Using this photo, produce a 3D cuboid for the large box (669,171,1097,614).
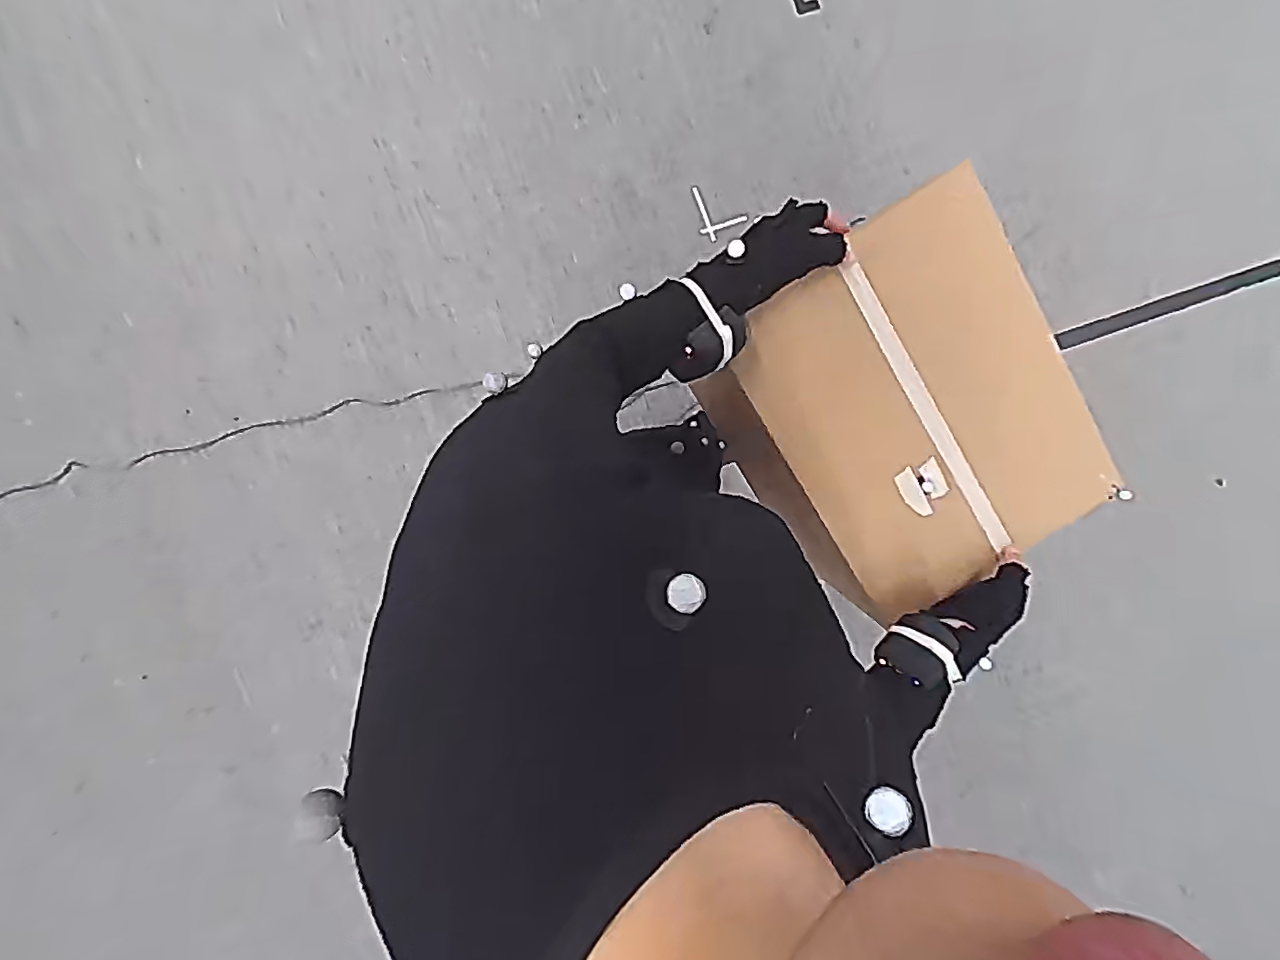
[{"bbox_3d":[0.289,-0.107,0.746,0.320,0.320,0.408,-33,101,2],"label":"large box"}]
